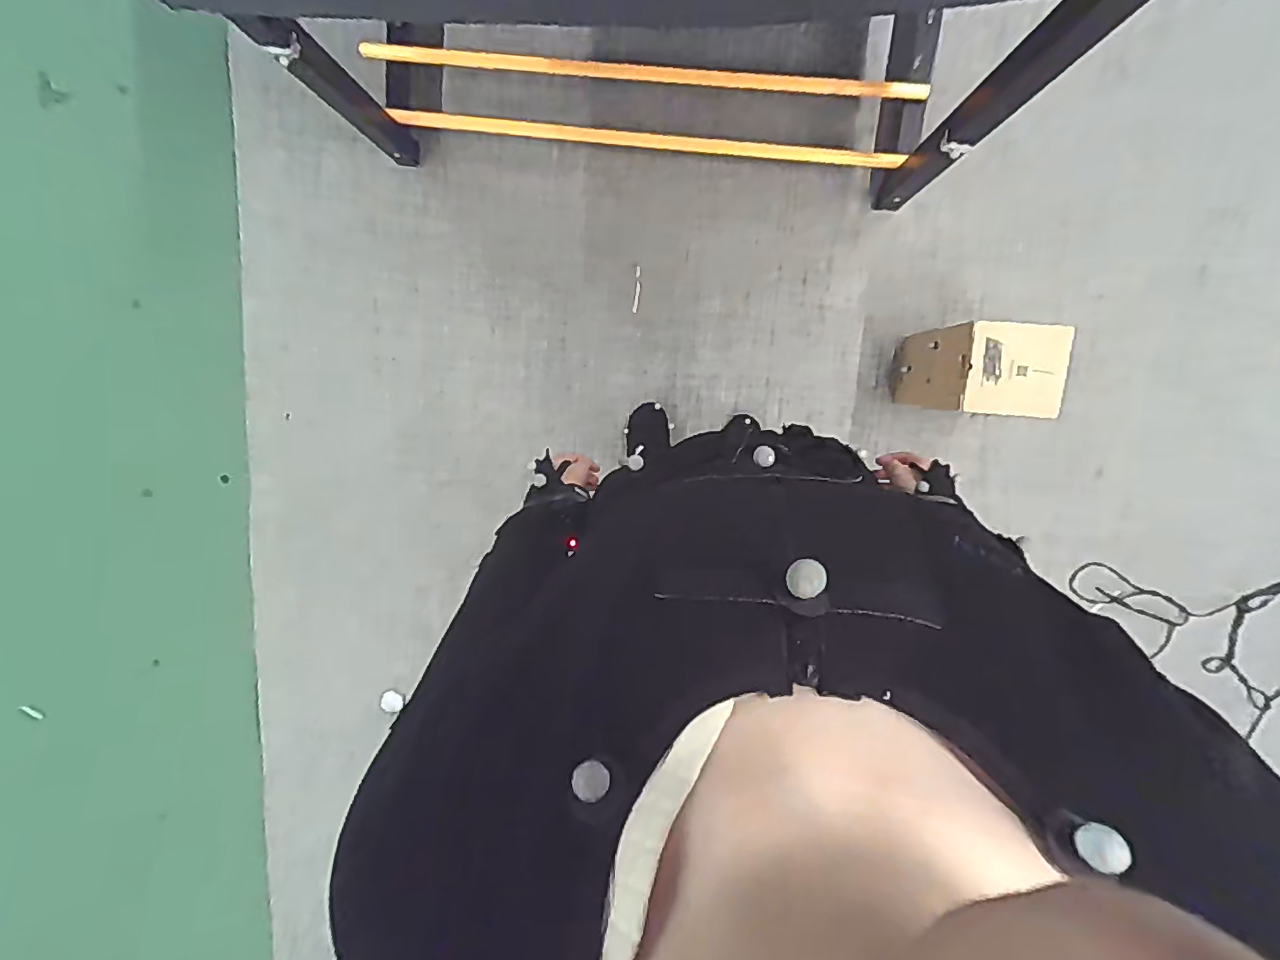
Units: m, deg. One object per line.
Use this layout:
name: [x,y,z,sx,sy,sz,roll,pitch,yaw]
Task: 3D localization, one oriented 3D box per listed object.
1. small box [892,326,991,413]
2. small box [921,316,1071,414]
small box: [0.698,-0.244,1.213,0.179,0.176,0.168,6,98,2]
small box: [0.677,-0.218,1.052,0.179,0.176,0.168,4,99,2]
